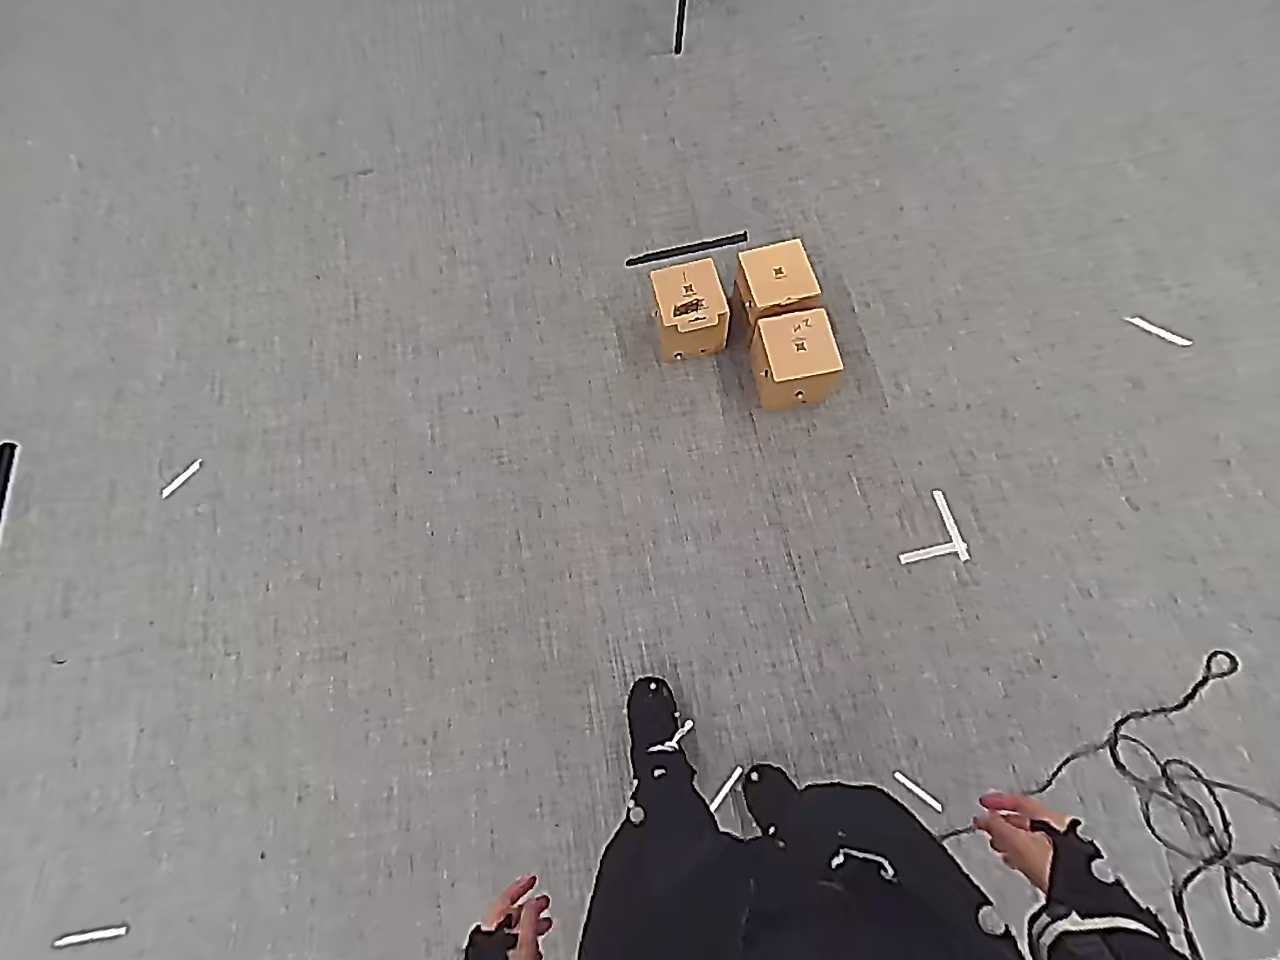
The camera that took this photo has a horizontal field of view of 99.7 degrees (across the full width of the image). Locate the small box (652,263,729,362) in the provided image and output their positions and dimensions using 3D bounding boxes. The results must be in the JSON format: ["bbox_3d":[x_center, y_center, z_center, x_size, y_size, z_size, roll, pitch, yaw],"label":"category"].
[{"bbox_3d":[0.131,-0.430,1.420,0.168,0.176,0.179,-13,70,0],"label":"small box"}]
